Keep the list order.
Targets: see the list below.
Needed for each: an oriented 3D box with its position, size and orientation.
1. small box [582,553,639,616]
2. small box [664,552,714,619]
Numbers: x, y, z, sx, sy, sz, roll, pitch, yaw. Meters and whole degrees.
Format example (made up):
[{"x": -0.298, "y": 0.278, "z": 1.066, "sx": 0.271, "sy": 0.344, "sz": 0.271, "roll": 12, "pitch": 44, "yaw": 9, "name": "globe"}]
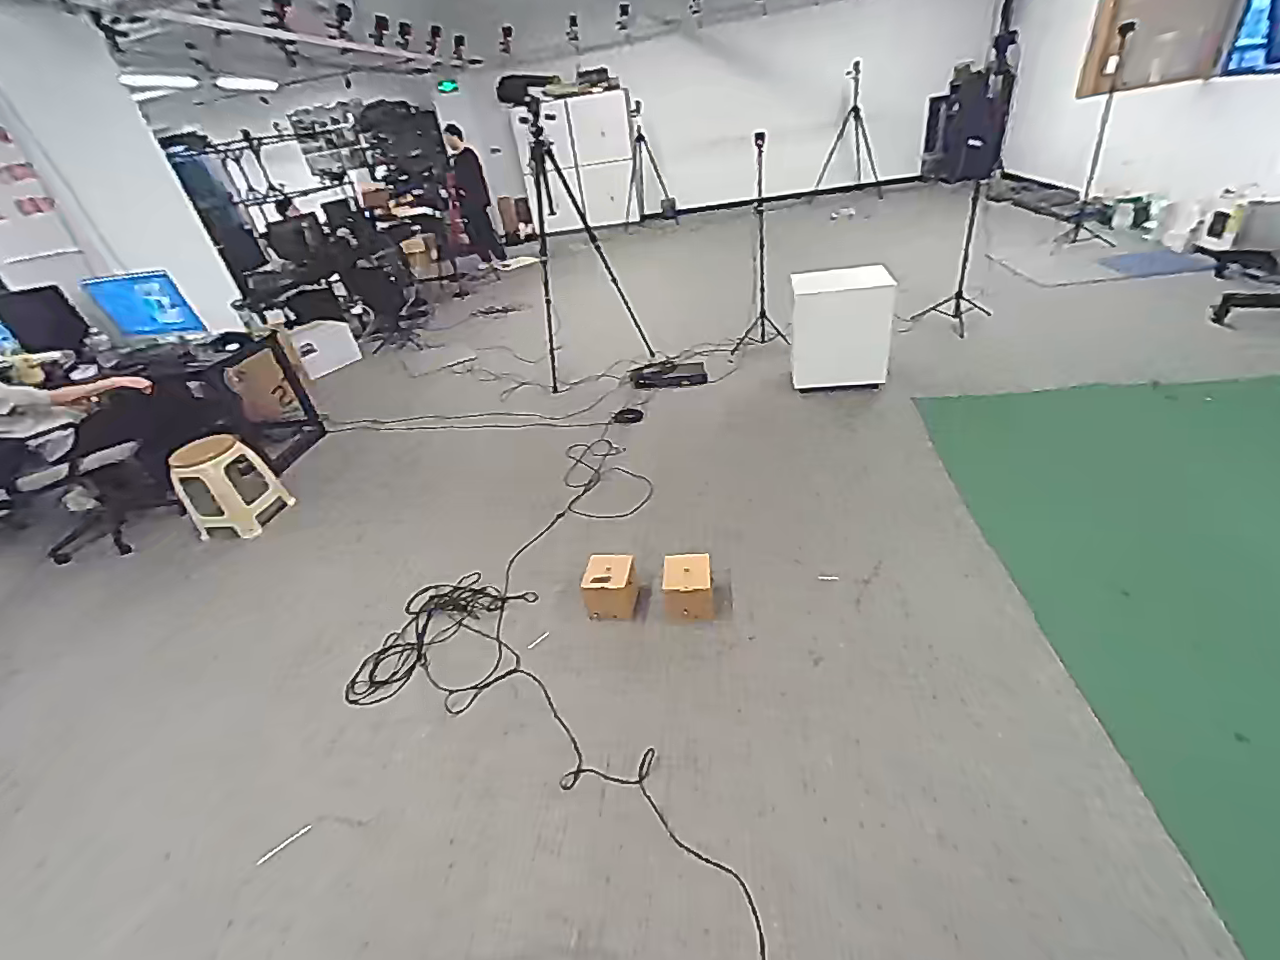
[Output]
[{"x": -0.104, "y": 0.394, "z": 2.034, "sx": 0.168, "sy": 0.176, "sz": 0.179, "roll": -1, "pitch": 35, "yaw": 12, "name": "small box"}, {"x": 0.181, "y": 0.386, "z": 1.975, "sx": 0.168, "sy": 0.176, "sz": 0.179, "roll": -4, "pitch": 35, "yaw": 9, "name": "small box"}]
